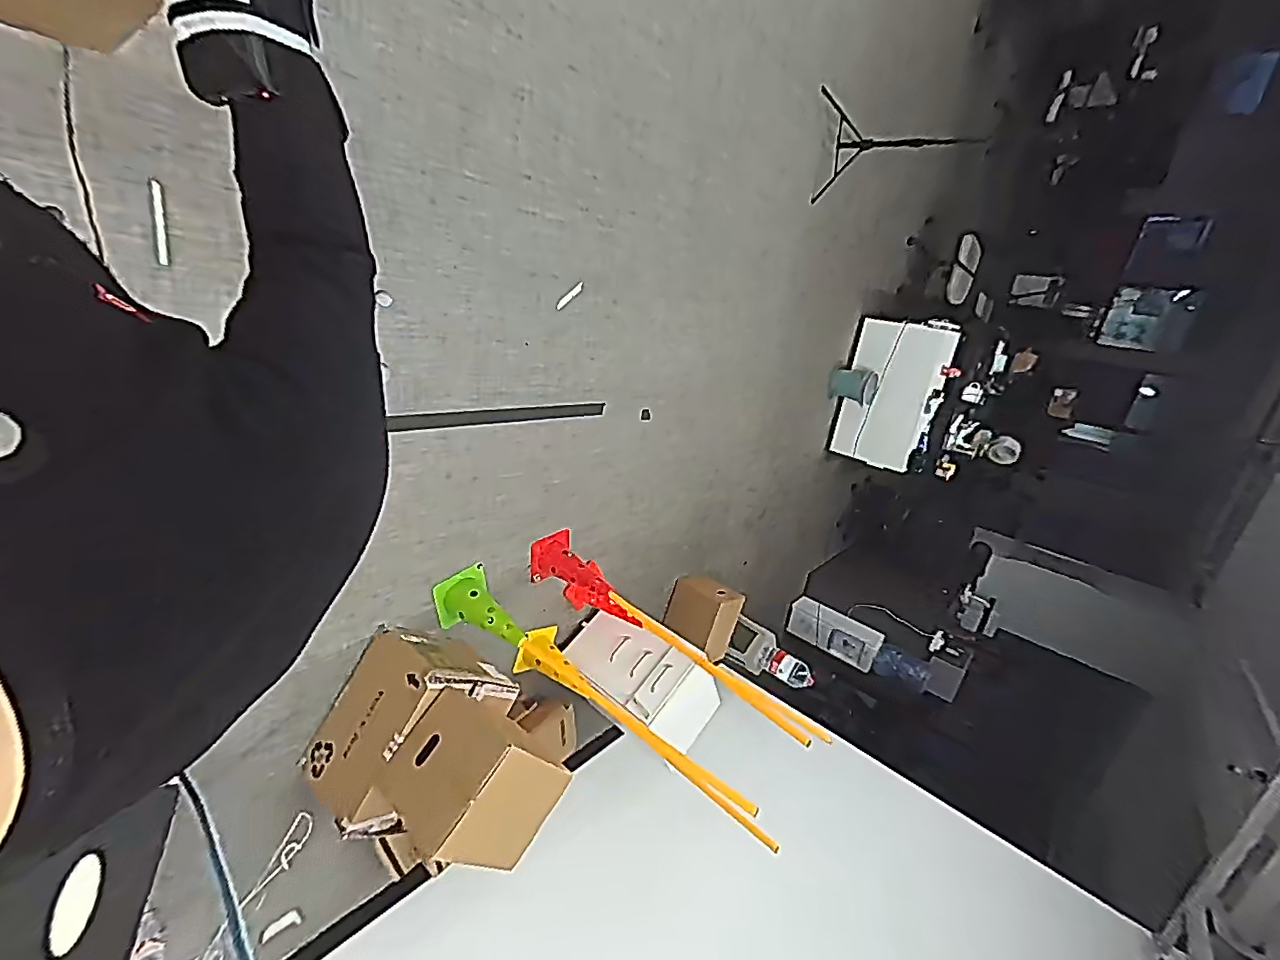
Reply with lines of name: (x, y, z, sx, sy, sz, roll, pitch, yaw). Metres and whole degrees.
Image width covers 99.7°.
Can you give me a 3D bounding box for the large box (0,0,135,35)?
large box: (-0.504, -0.482, 0.231, 0.408, 0.320, 0.320, -15, 119, -49)
